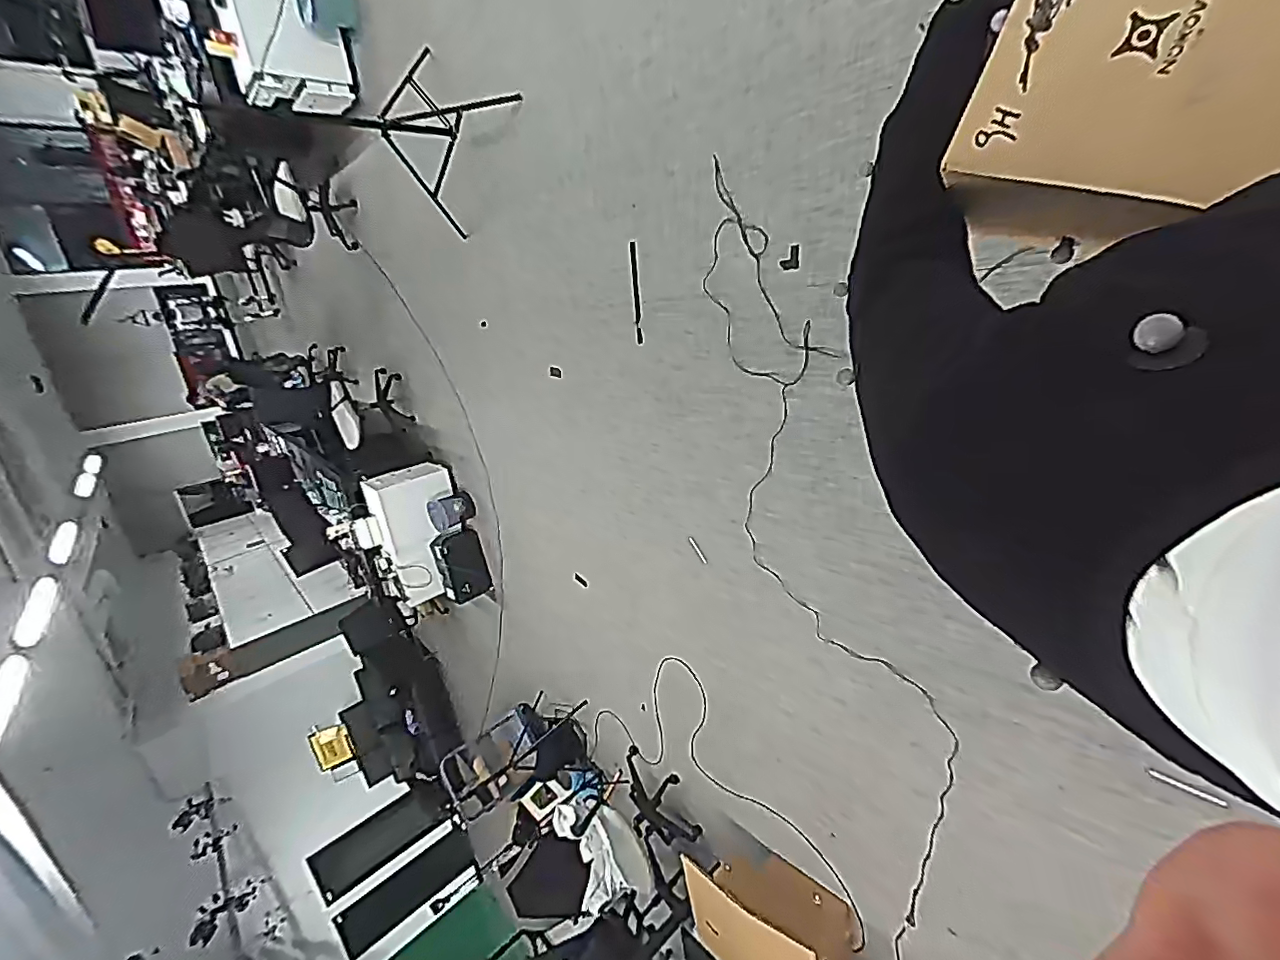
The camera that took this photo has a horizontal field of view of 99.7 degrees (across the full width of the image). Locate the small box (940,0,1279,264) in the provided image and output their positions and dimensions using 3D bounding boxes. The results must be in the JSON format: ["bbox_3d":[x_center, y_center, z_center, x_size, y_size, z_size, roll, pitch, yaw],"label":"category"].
[{"bbox_3d":[0.350,-0.266,0.384,0.179,0.176,0.168,30,112,29],"label":"small box"}]
